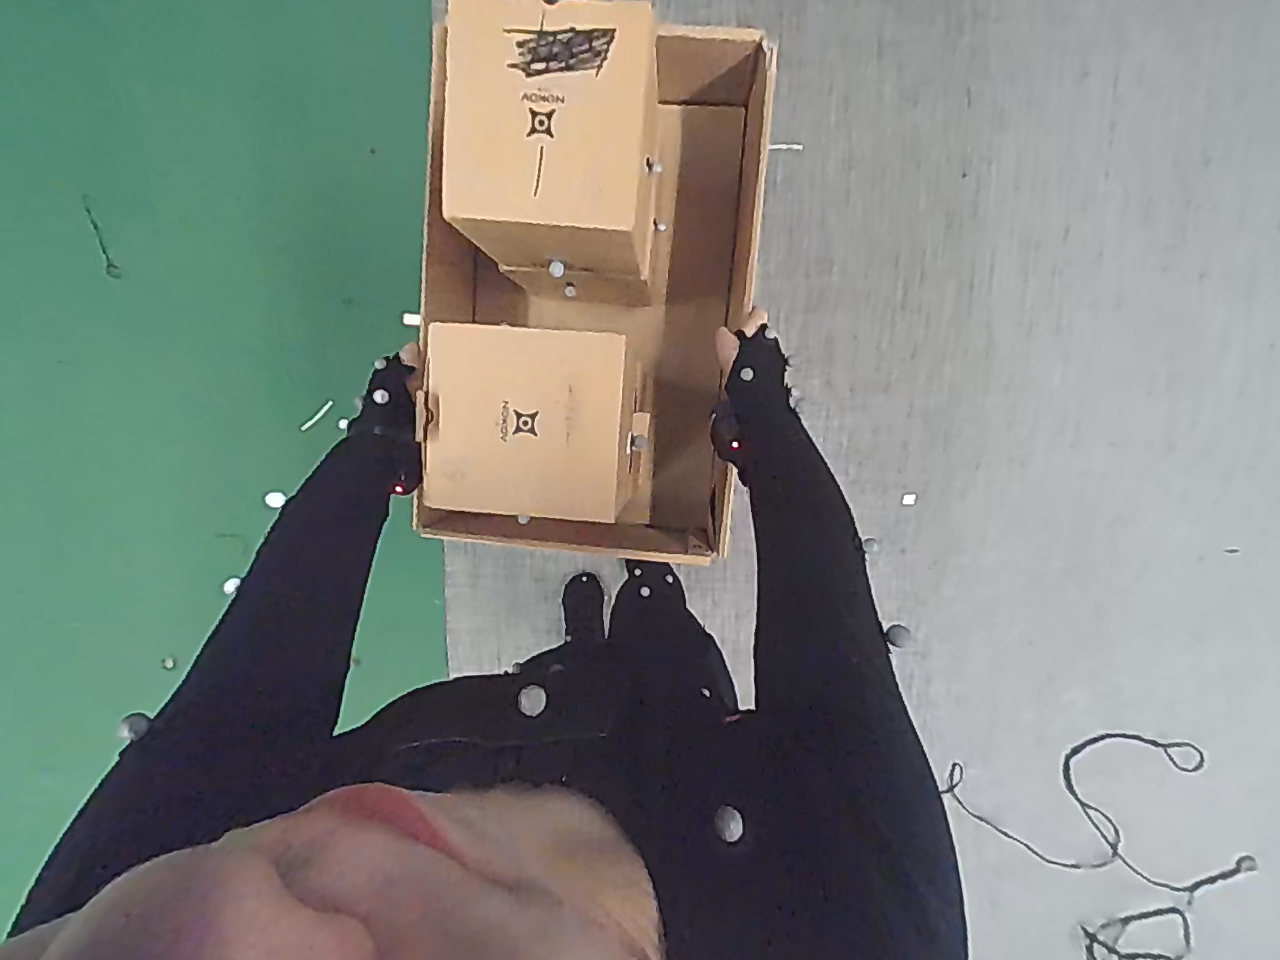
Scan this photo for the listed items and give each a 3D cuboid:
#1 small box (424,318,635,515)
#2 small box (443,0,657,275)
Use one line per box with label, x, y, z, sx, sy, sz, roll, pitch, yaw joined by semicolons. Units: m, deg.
small box;-0.102;-0.065;0.561;0.179;0.176;0.168;4;97;2
small box;-0.075;-0.315;0.526;0.168;0.176;0.179;7;99;1
